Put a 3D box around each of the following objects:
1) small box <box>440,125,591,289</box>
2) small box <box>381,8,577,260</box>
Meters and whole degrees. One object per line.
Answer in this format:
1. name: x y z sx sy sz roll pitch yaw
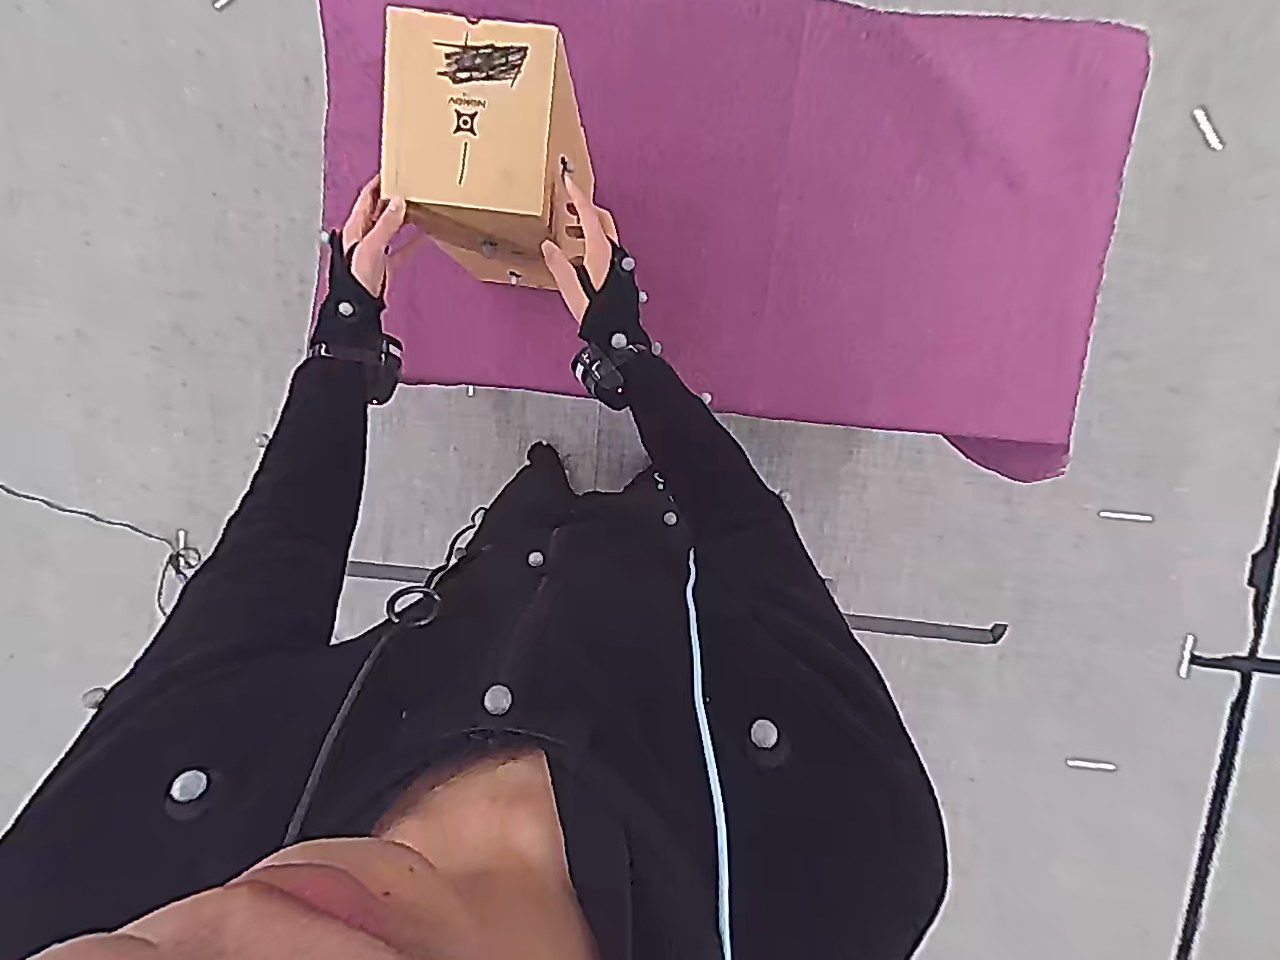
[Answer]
1. small box: -0.166 -0.384 0.768 0.168 0.176 0.179 8 97 -1
2. small box: -0.166 -0.367 0.606 0.168 0.176 0.179 7 99 0
